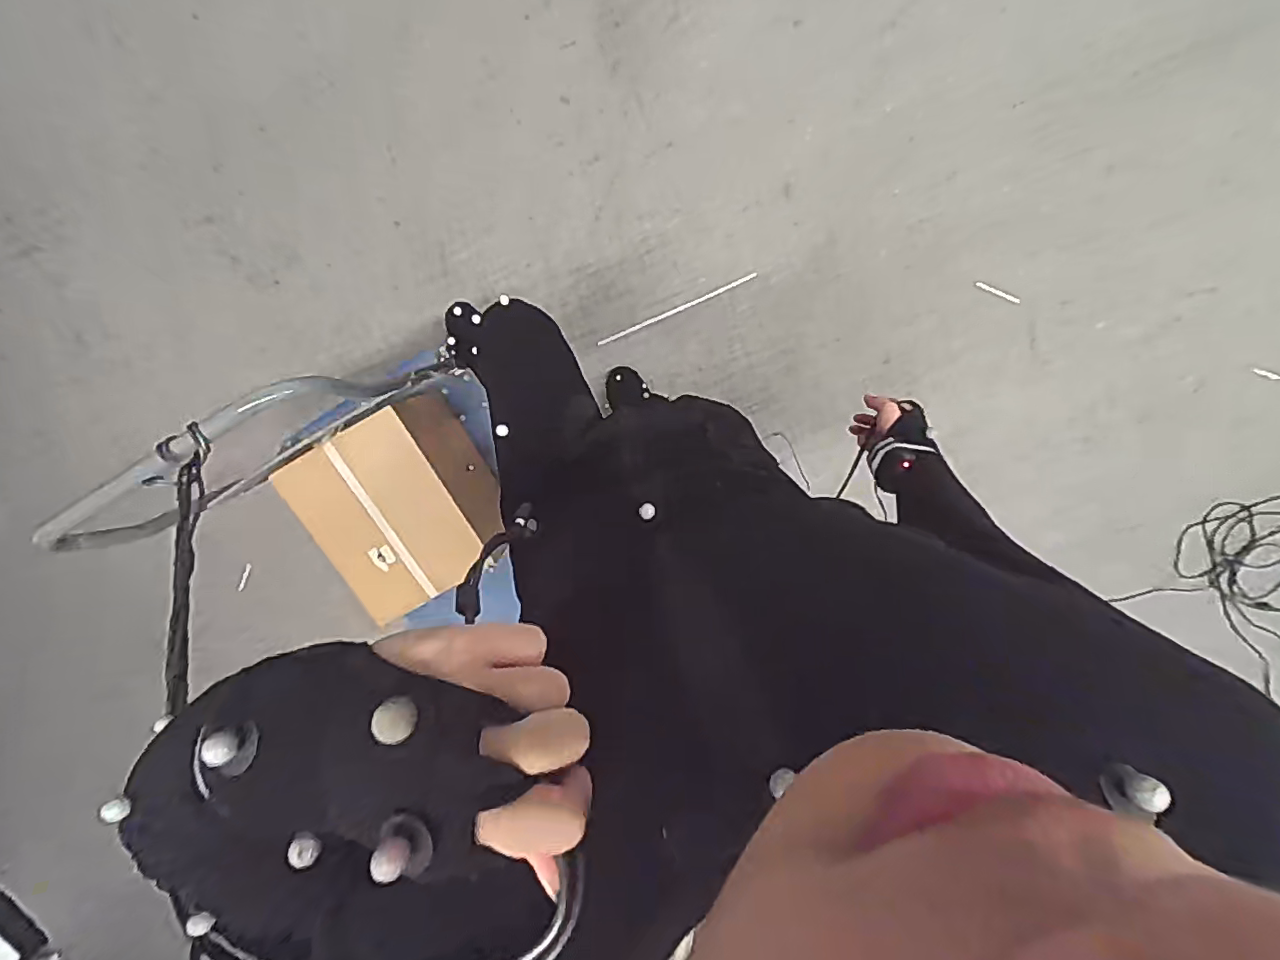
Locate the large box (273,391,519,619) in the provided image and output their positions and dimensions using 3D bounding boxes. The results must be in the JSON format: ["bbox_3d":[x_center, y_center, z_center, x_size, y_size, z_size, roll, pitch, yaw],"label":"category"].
[{"bbox_3d":[-0.548,0.042,1.301,0.320,0.320,0.408,-28,103,5],"label":"large box"}]
